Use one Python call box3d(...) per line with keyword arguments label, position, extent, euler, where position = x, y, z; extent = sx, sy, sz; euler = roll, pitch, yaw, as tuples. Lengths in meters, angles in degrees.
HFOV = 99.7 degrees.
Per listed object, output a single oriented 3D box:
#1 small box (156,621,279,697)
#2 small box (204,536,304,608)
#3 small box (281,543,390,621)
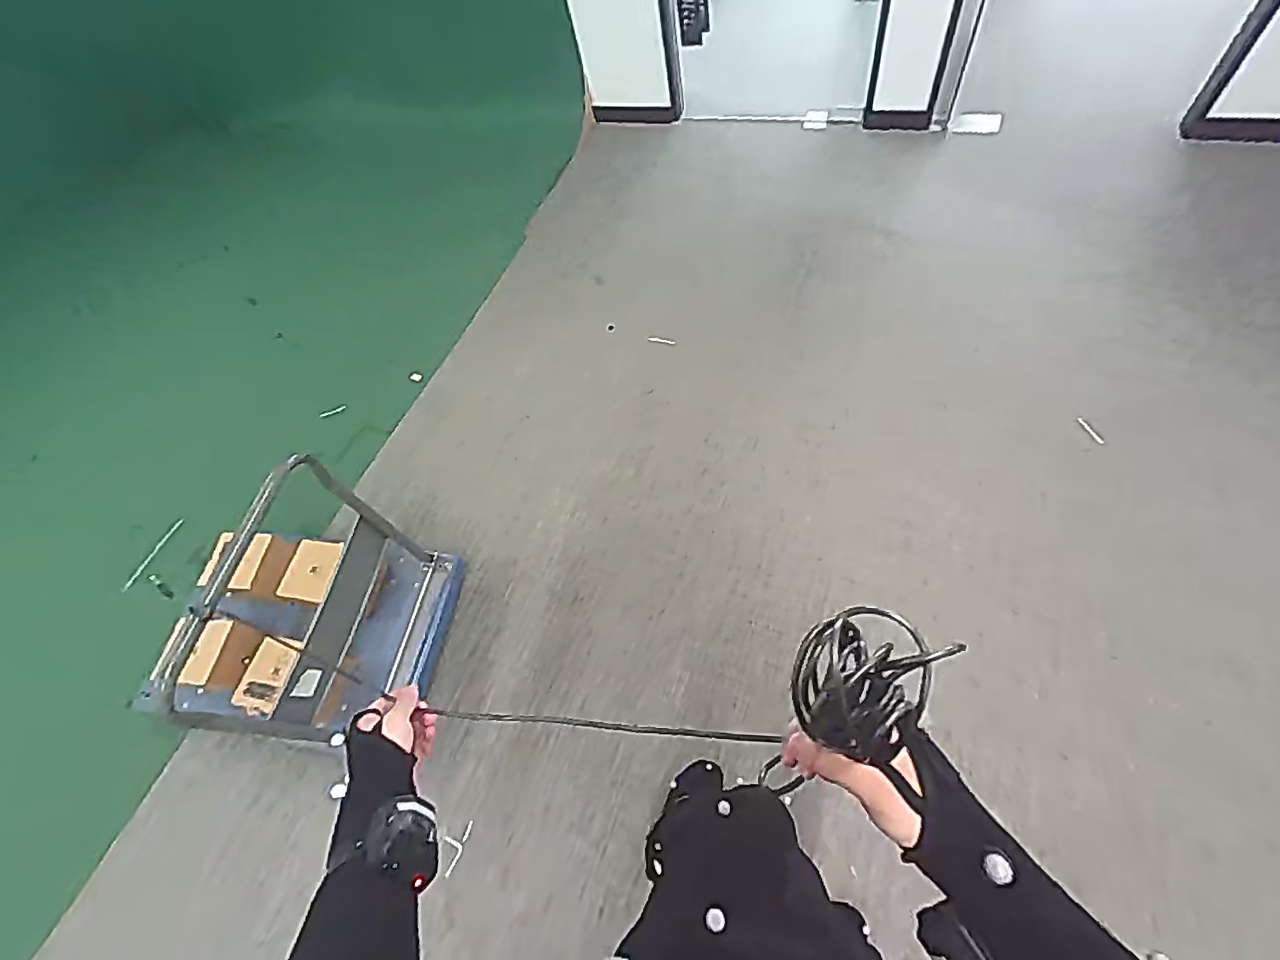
box3d(label="small box", position=(-1.152, 0.498, 1.493), extent=(0.179, 0.176, 0.168), euler=(1, 60, 12))
box3d(label="small box", position=(-1.126, 0.277, 1.612), extent=(0.179, 0.176, 0.168), euler=(1, 62, 11))
box3d(label="small box", position=(-0.863, 0.297, 1.550), extent=(0.179, 0.176, 0.168), euler=(5, 62, 14))
